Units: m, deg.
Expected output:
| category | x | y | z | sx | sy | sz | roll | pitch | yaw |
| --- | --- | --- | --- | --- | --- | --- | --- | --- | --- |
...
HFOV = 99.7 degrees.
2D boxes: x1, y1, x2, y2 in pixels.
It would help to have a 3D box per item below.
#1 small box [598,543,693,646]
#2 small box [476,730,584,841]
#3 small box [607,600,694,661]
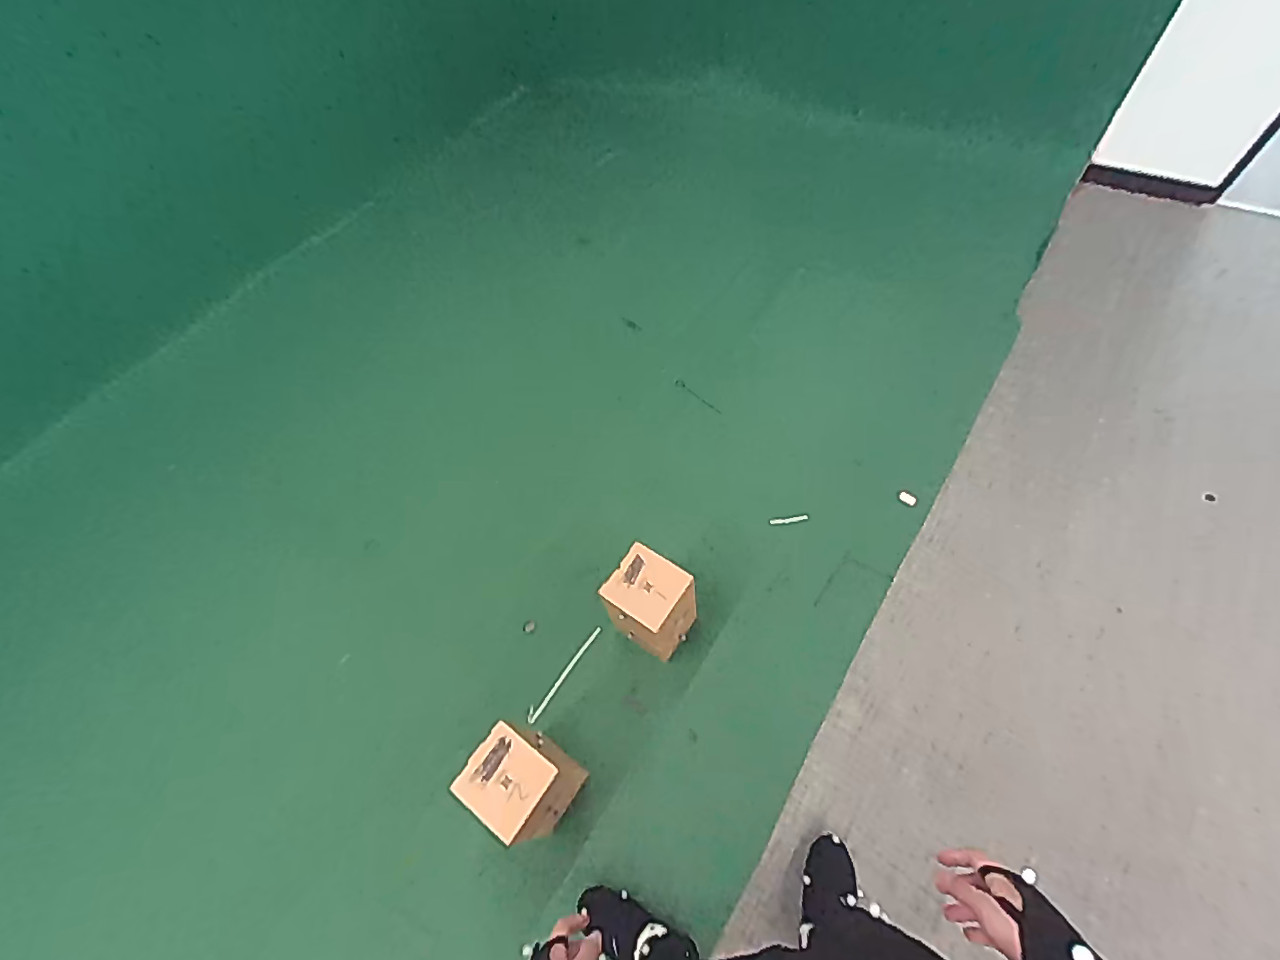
| category | x | y | z | sx | sy | sz | roll | pitch | yaw |
| --- | --- | --- | --- | --- | --- | --- | --- | --- | --- |
| small box | 0.019 | 0.296 | 1.371 | 0.179 | 0.176 | 0.168 | 30 | 67 | 21 |
| small box | -0.261 | 0.746 | 1.333 | 0.179 | 0.176 | 0.168 | 29 | 67 | 22 |
| small box | 0.034 | 0.380 | 1.511 | 0.179 | 0.176 | 0.168 | 31 | 67 | 22 |
